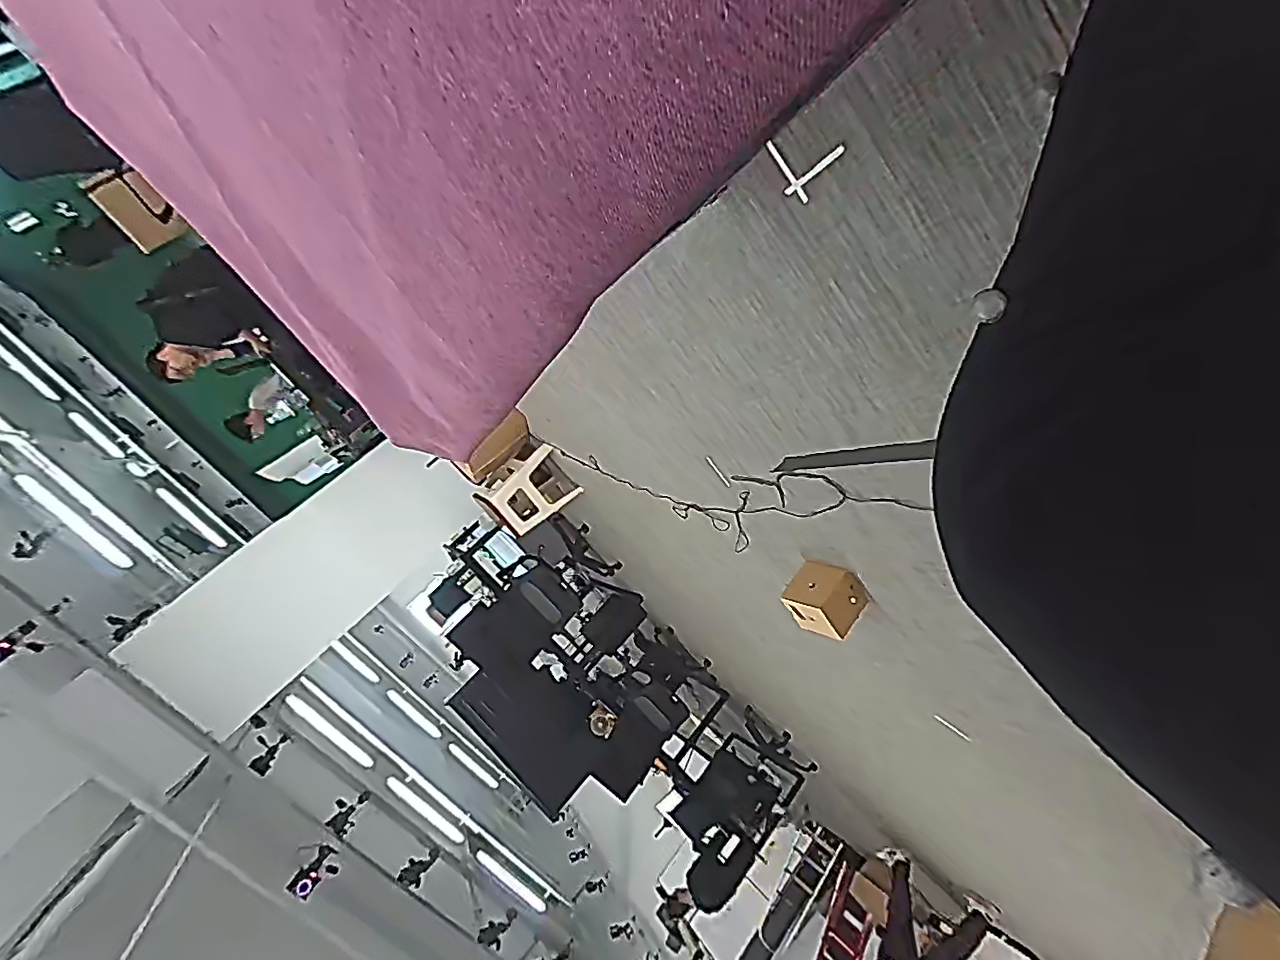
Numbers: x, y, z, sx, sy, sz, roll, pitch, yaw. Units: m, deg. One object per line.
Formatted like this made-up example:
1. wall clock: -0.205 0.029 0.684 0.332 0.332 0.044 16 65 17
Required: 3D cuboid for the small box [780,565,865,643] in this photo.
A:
1. small box: 0.607 0.402 1.793 0.168 0.176 0.179 52 157 -21
